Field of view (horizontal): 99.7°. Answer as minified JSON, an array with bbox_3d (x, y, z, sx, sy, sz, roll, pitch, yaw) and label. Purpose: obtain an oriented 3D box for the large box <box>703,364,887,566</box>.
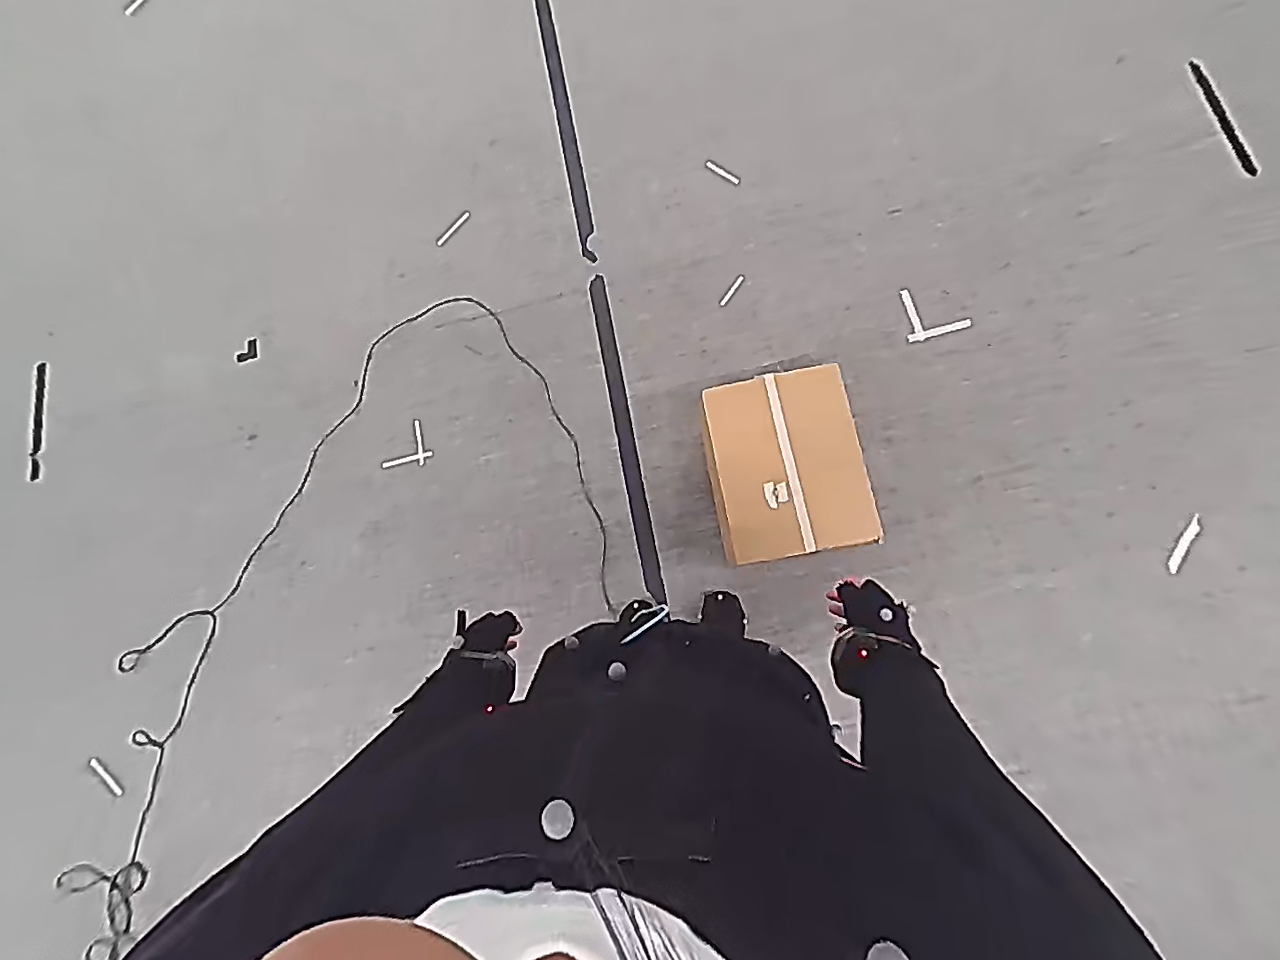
[{"bbox_3d":[0.348,-0.016,1.330,0.320,0.320,0.408,-12,79,5],"label":"large box"}]
